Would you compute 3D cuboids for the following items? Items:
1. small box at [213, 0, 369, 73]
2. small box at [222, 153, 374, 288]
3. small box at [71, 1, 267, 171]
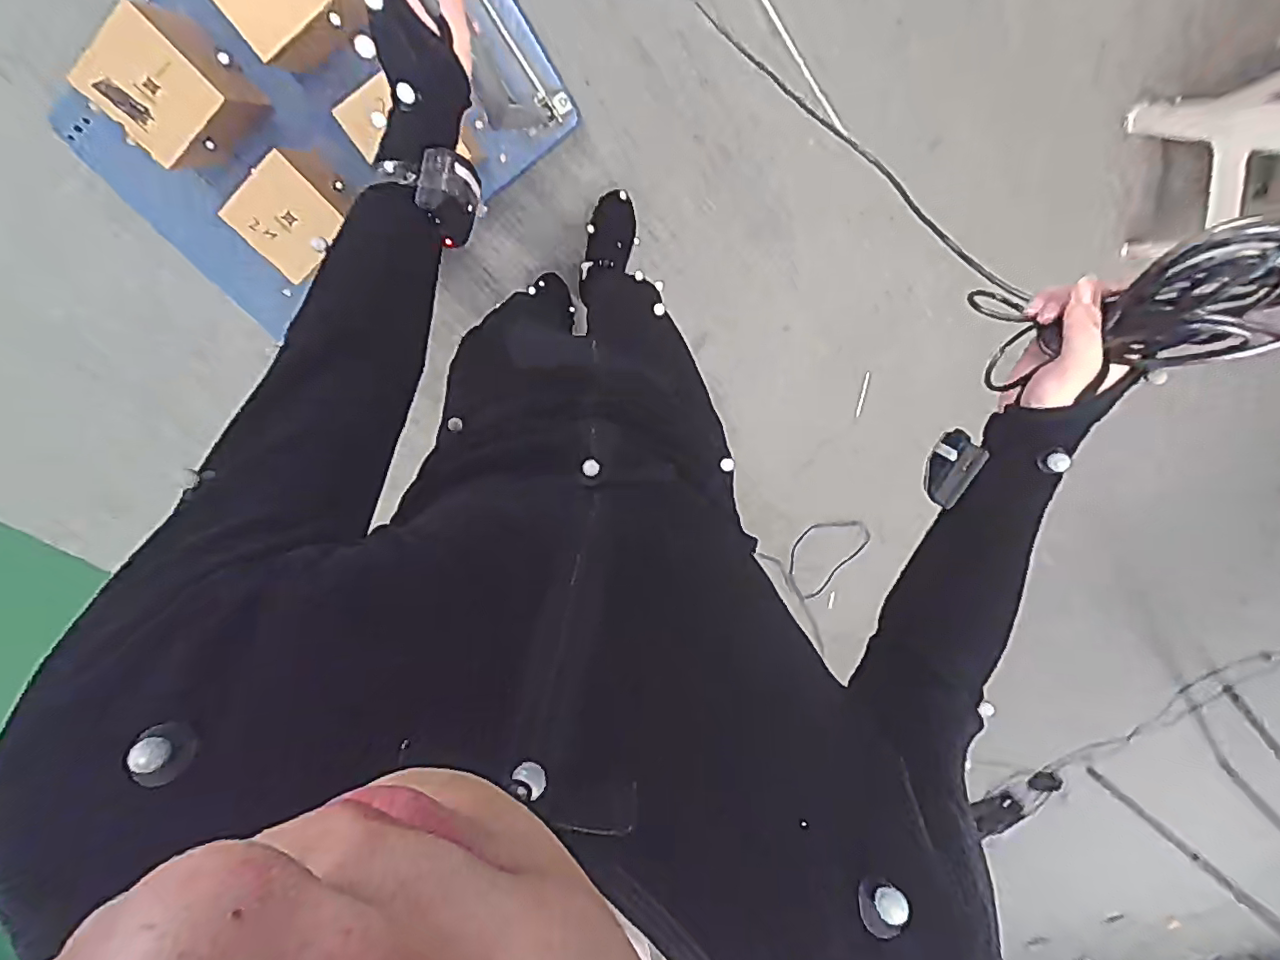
[{"bbox_3d":[-0.592,-0.821,0.900,0.179,0.176,0.168,-31,120,12],"label":"small box"},{"bbox_3d":[-0.663,-0.520,1.077,0.179,0.176,0.168,-35,118,15],"label":"small box"},{"bbox_3d":[-0.817,-0.683,0.960,0.179,0.176,0.168,-35,119,14],"label":"small box"}]
